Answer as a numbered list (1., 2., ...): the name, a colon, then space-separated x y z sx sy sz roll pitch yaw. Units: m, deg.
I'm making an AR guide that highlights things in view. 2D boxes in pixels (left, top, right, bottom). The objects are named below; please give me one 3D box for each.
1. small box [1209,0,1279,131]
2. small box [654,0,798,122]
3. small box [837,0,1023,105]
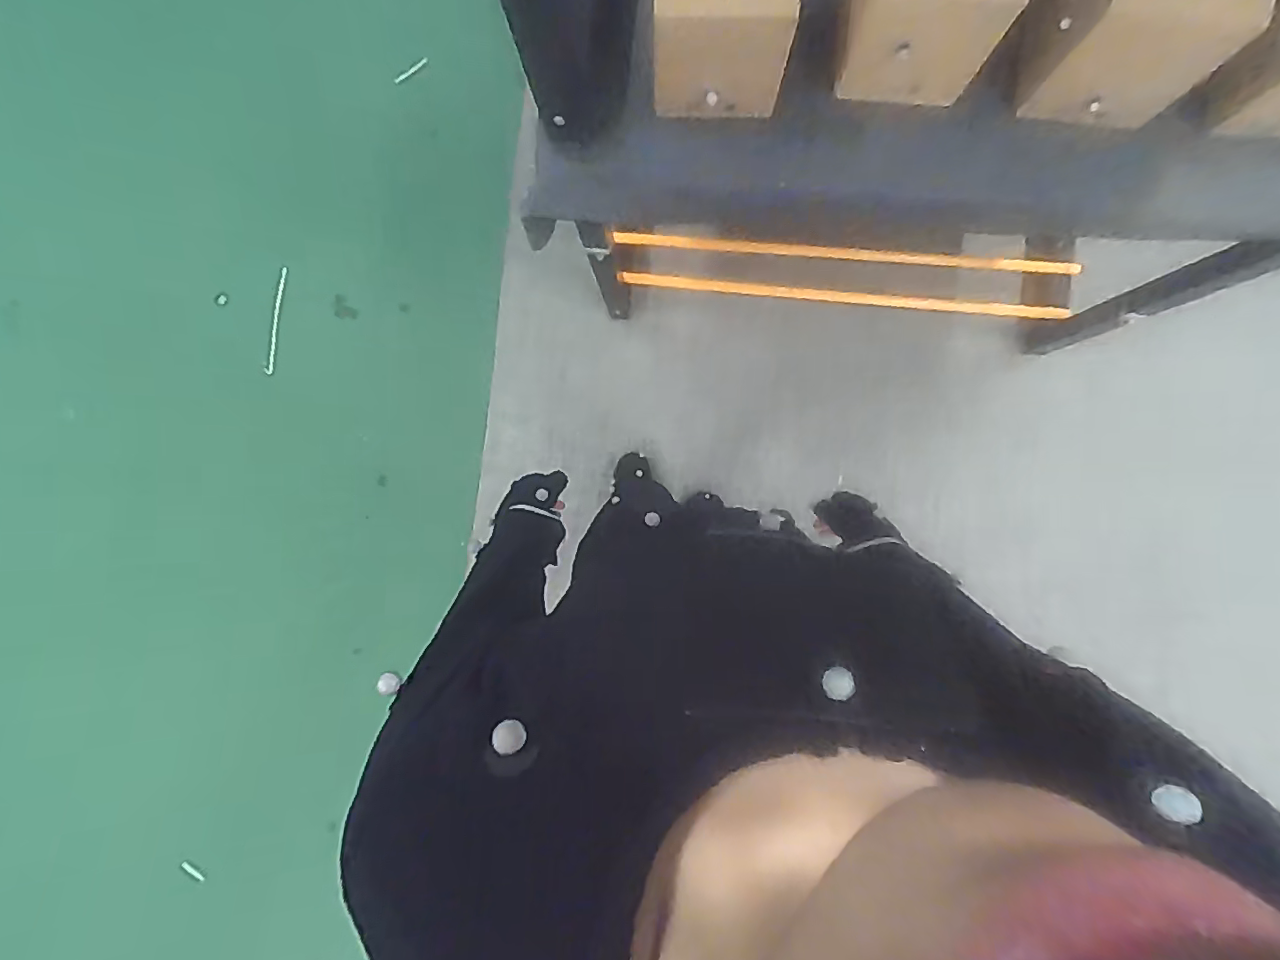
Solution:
1. small box: 0.846 -0.547 0.645 0.168 0.176 0.179 5 88 4
2. small box: 0.105 -0.604 0.696 0.168 0.176 0.179 2 89 4
3. small box: 0.359 -0.614 0.682 0.168 0.176 0.179 6 88 4
